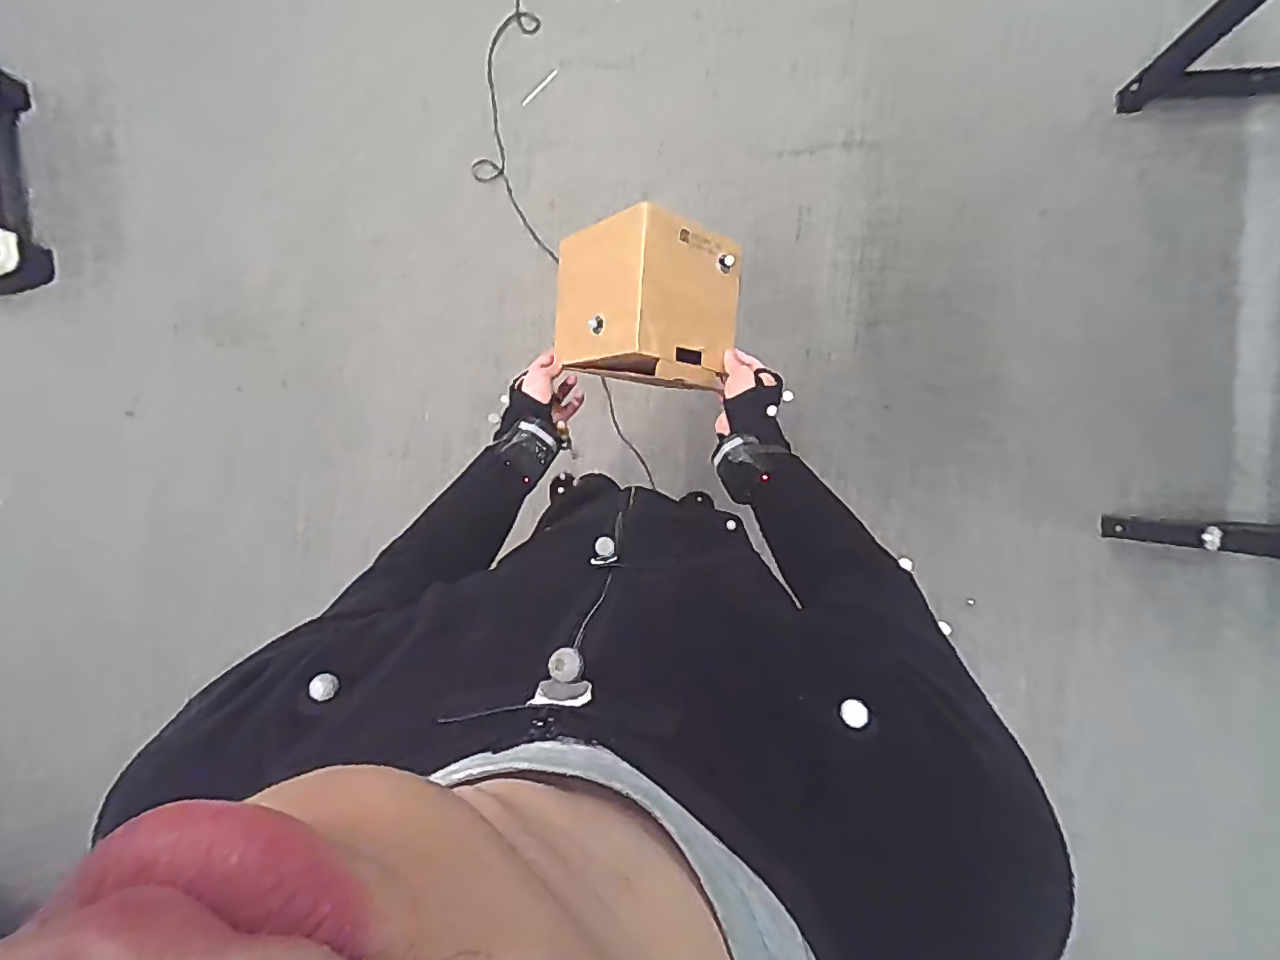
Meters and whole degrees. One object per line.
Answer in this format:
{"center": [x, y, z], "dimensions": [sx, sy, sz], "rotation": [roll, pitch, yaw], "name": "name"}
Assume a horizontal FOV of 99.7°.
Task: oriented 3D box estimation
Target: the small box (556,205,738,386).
{"center": [0.010, -0.219, 0.684], "dimensions": [0.179, 0.168, 0.176], "rotation": [6, 92, 48], "name": "small box"}
